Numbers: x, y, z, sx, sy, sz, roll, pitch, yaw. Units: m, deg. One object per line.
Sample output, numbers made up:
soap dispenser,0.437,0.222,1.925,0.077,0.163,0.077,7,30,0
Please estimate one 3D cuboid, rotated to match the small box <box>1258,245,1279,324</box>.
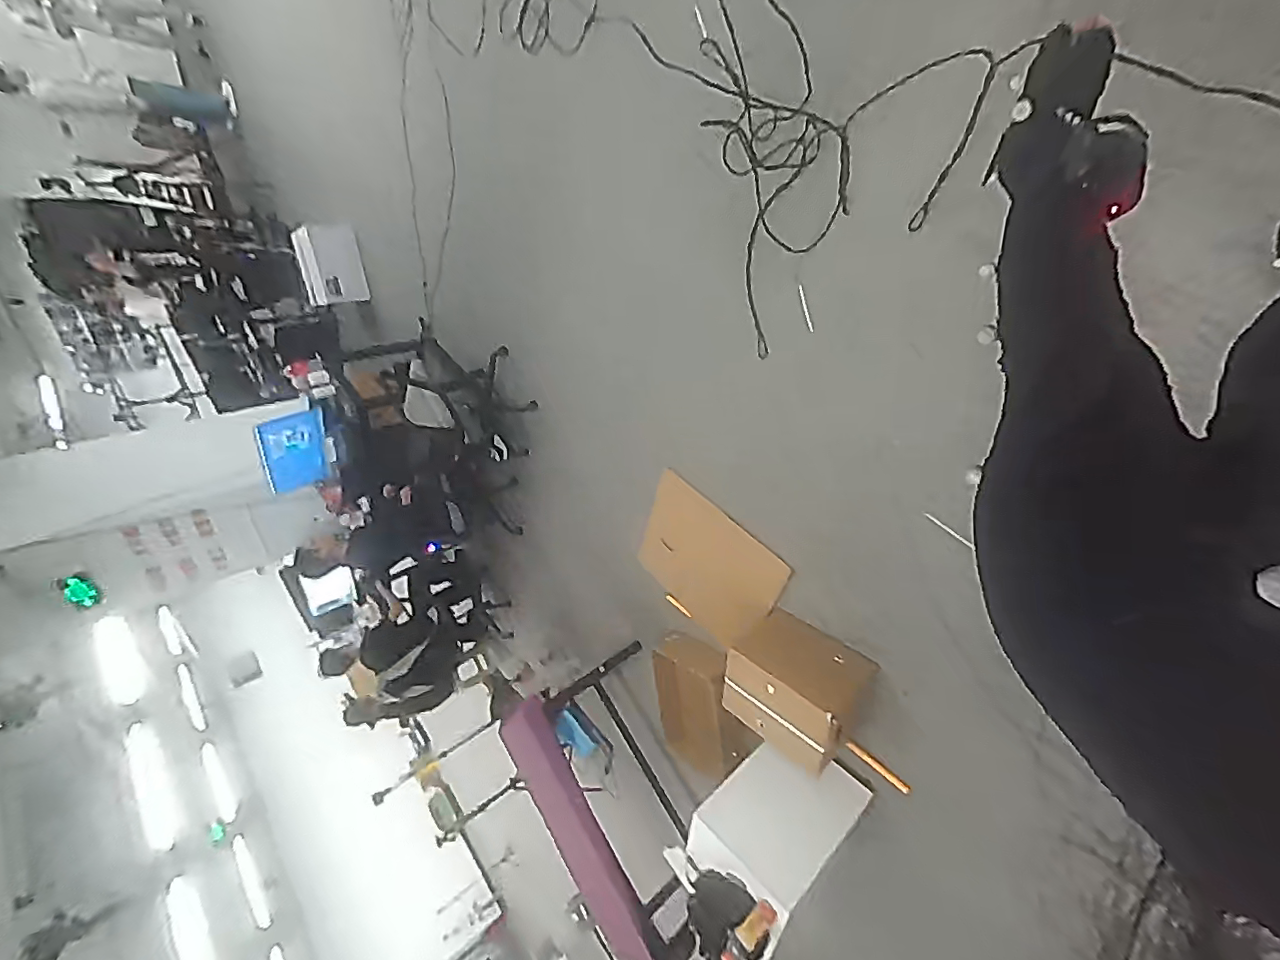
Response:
small box,1.138,-0.338,0.845,0.179,0.176,0.168,42,150,53
